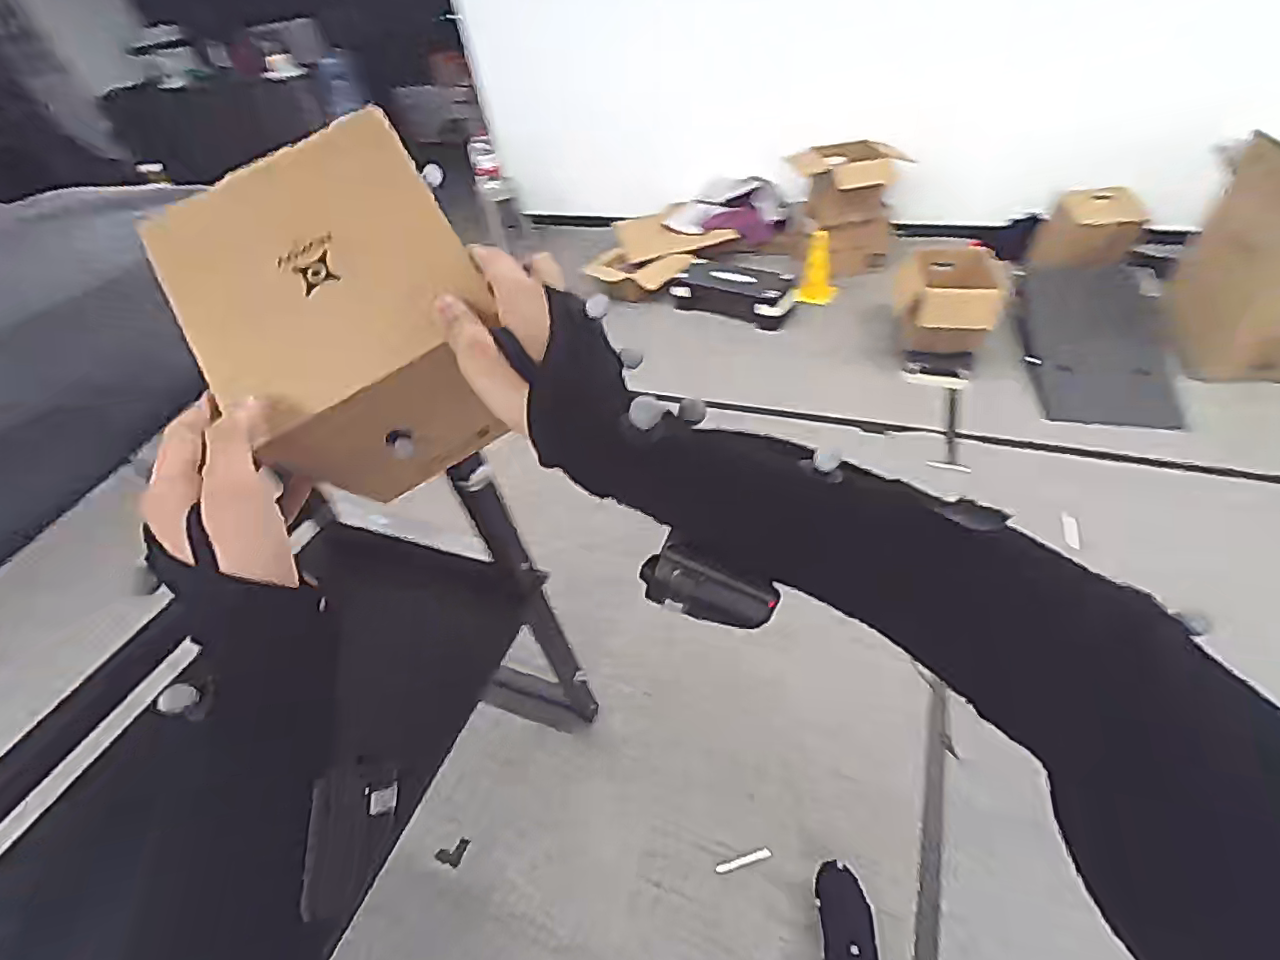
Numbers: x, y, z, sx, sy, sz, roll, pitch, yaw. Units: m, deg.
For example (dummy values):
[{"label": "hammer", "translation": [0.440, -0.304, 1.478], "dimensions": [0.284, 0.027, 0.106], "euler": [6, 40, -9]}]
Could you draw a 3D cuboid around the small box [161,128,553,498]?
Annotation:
[{"label": "small box", "translation": [-0.184, -0.101, 0.406], "dimensions": [0.168, 0.176, 0.179], "euler": [-32, 78, -6]}]
